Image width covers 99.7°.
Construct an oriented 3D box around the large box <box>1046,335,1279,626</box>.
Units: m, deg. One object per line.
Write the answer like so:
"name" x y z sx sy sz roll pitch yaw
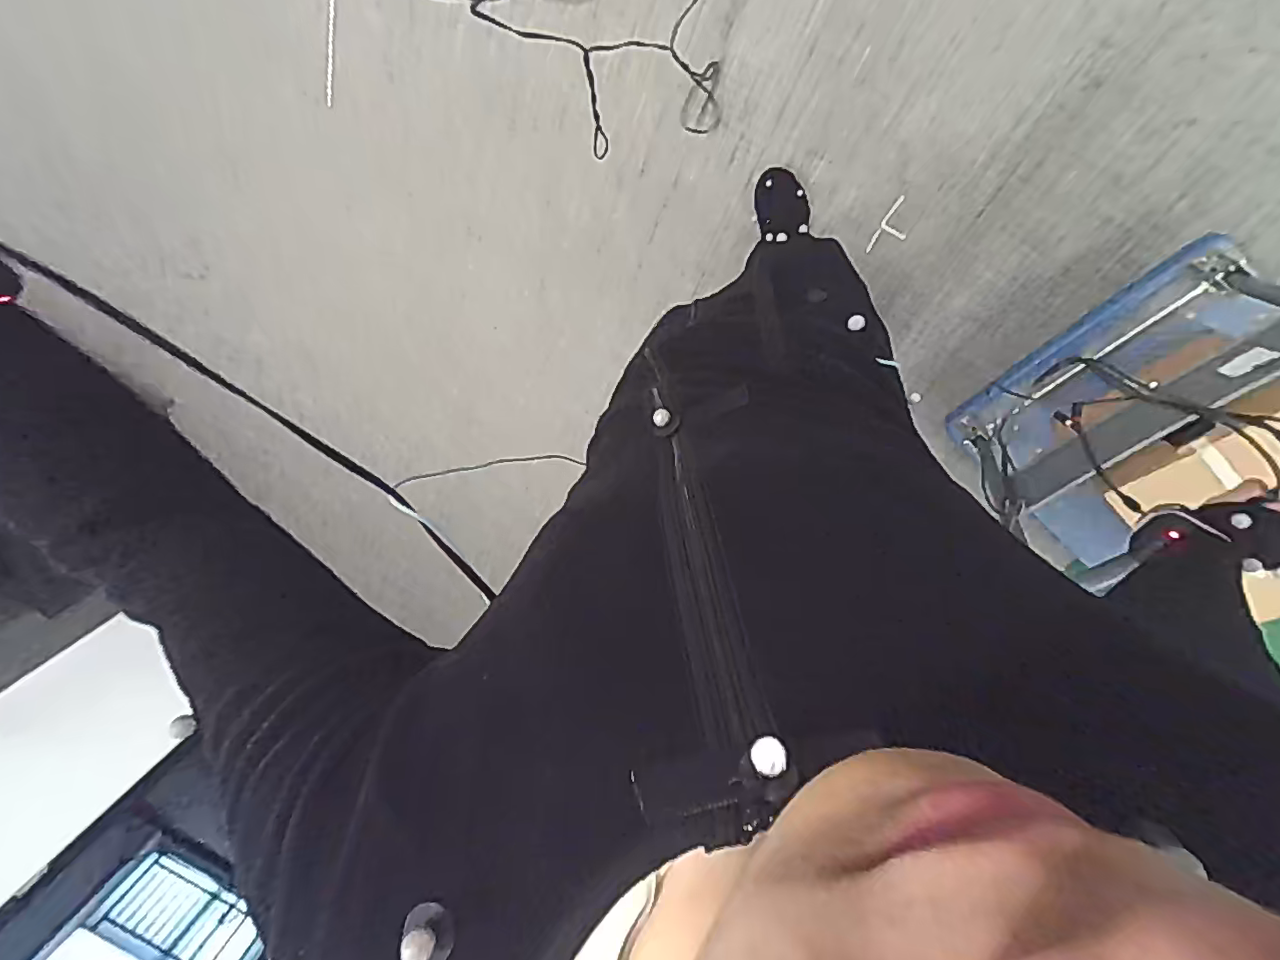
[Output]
"large box" 1.112 -0.005 1.053 0.408 0.320 0.320 42 125 -9
